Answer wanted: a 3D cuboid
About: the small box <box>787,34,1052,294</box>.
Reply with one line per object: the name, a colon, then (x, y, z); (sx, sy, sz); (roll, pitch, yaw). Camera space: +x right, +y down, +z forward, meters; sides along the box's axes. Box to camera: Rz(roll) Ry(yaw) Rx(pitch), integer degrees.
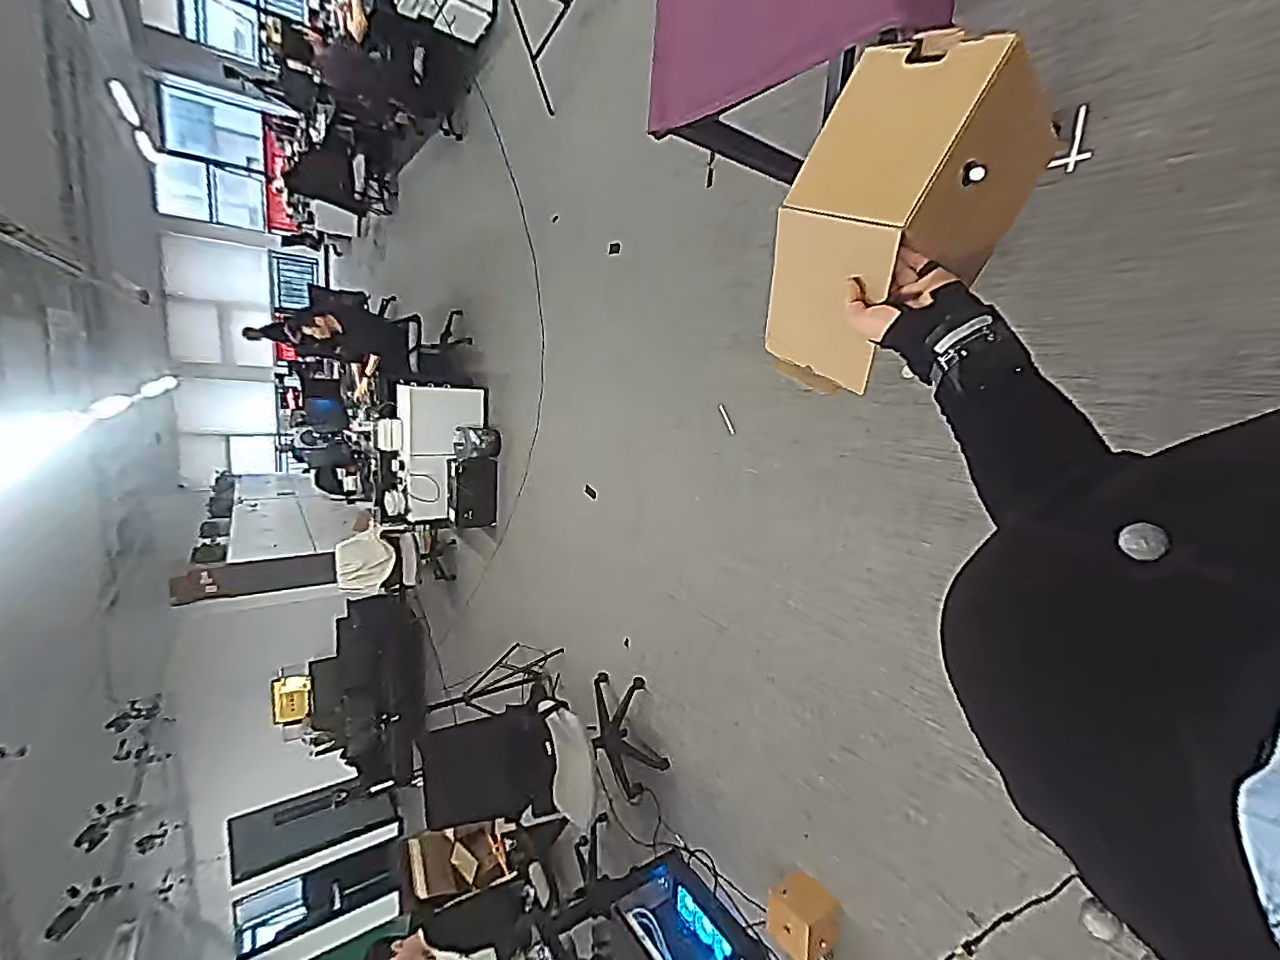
small box: (0.305, -0.331, 0.593); (0.168, 0.176, 0.179); (45, 111, 46)
